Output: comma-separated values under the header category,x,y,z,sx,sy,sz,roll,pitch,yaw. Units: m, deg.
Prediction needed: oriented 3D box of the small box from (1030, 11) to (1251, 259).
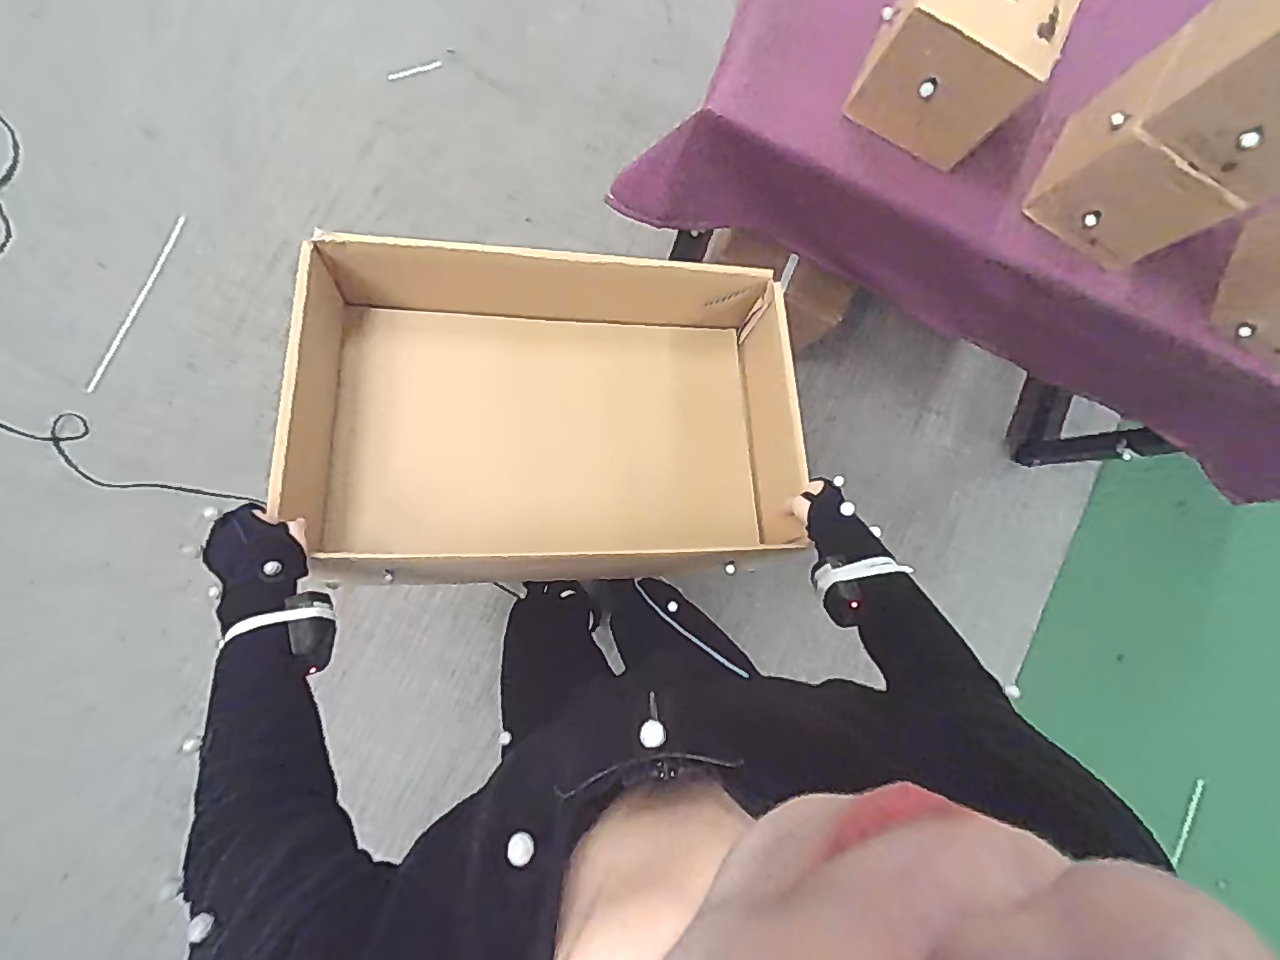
category,x,y,z,sx,sy,sz,roll,pitch,yaw
small box,0.670,-0.434,0.712,0.168,0.176,0.179,31,86,-4

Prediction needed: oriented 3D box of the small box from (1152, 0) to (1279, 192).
category,x,y,z,sx,sy,sz,roll,pitch,yaw
small box,0.692,-0.445,0.548,0.168,0.176,0.179,32,86,-3

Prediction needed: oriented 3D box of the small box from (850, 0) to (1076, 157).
category,x,y,z,sx,sy,sz,roll,pitch,yaw
small box,0.401,-0.557,0.686,0.179,0.176,0.168,26,86,-4

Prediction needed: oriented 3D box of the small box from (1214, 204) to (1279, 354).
category,x,y,z,sx,sy,sz,roll,pitch,yaw
small box,0.955,-0.287,0.733,0.168,0.176,0.179,26,85,-4
